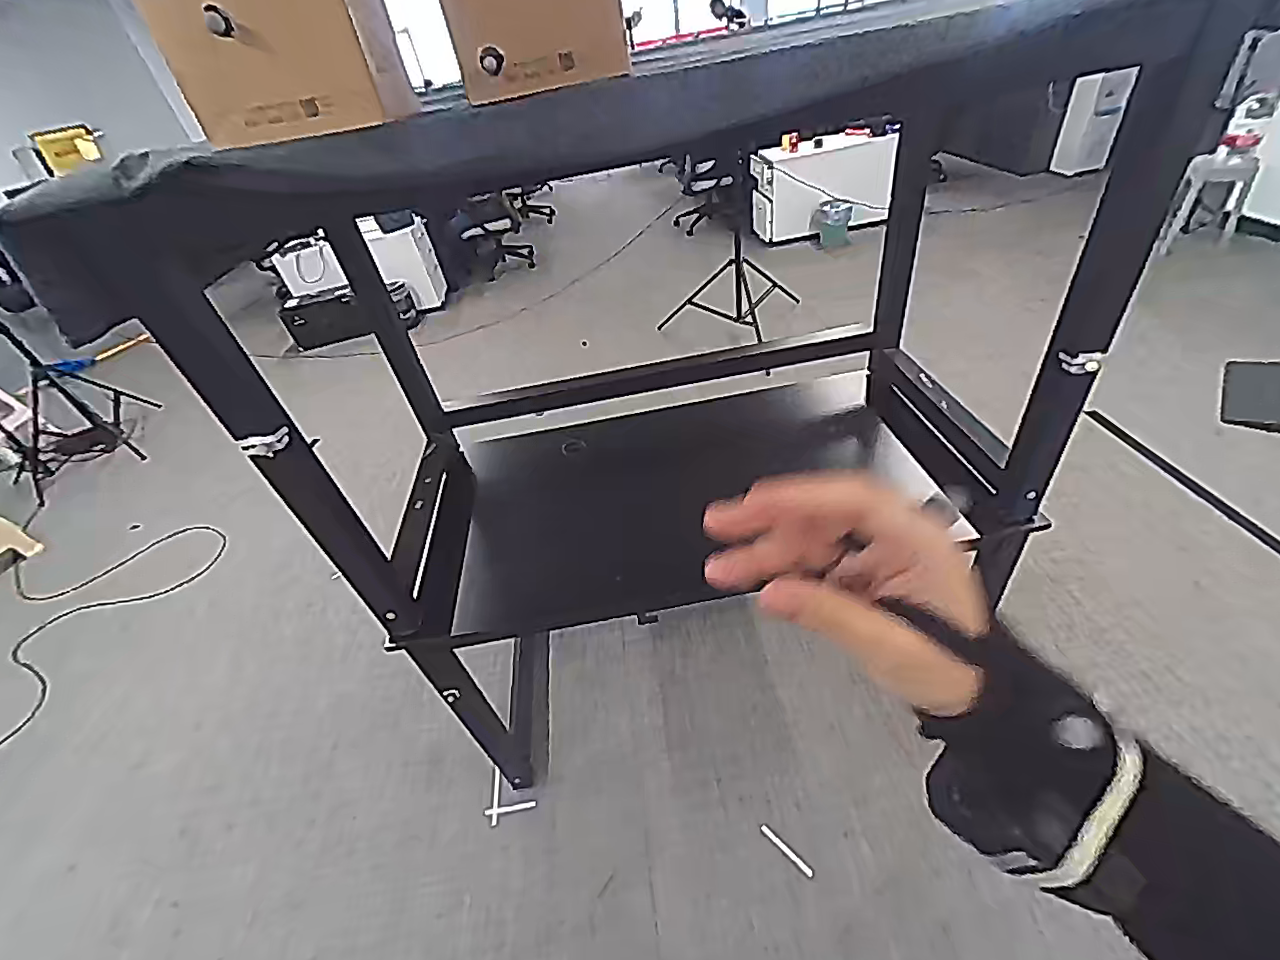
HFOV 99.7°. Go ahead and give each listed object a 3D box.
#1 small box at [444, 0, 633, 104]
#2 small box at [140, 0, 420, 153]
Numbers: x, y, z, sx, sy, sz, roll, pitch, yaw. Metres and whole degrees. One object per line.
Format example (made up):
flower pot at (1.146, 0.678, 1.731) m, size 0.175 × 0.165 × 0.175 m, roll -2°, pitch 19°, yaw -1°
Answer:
small box at (-0.103, -0.496, 0.548) m, size 0.168 × 0.176 × 0.179 m, roll -10°, pitch 37°, yaw 2°
small box at (-0.338, -0.434, 0.530) m, size 0.168 × 0.176 × 0.179 m, roll -10°, pitch 37°, yaw -1°
